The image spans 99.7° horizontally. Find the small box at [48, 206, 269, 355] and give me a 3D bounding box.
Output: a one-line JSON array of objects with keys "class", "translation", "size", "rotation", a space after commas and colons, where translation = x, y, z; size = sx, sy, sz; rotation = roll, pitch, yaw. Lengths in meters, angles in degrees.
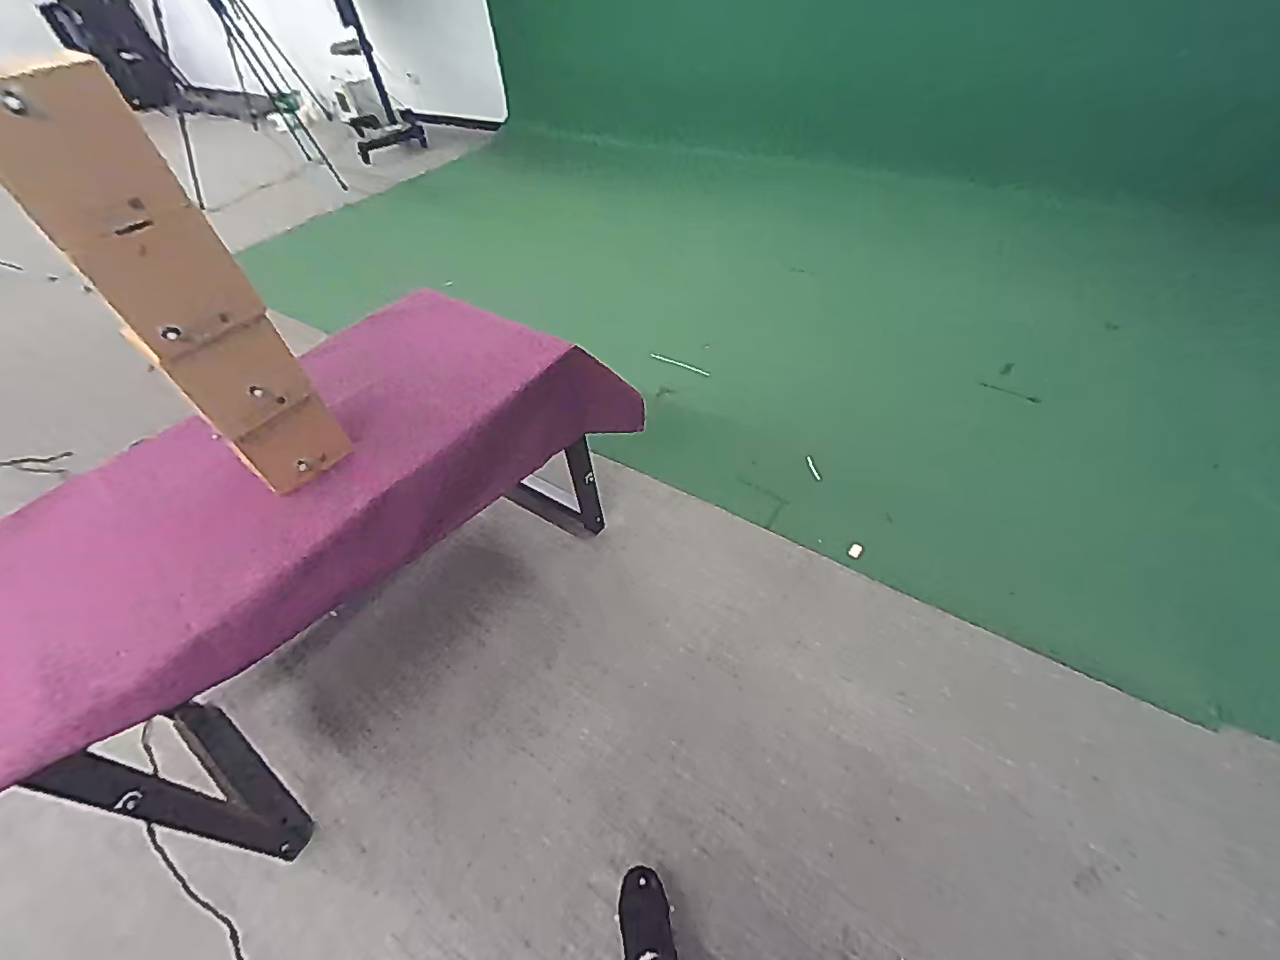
[{"class": "small box", "translation": [-0.718, -0.314, 0.825], "size": [0.179, 0.176, 0.168], "rotation": [28, 56, 29]}]

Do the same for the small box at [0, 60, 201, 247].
[{"class": "small box", "translation": [-0.736, -0.426, 0.707], "size": [0.179, 0.176, 0.168], "rotation": [29, 58, 30]}]

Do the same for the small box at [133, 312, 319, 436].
[{"class": "small box", "translation": [-0.714, -0.205, 0.948], "size": [0.179, 0.176, 0.168], "rotation": [28, 57, 28]}]

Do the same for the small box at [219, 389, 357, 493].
[{"class": "small box", "translation": [-0.711, -0.103, 1.077], "size": [0.179, 0.176, 0.168], "rotation": [30, 57, 28]}]
